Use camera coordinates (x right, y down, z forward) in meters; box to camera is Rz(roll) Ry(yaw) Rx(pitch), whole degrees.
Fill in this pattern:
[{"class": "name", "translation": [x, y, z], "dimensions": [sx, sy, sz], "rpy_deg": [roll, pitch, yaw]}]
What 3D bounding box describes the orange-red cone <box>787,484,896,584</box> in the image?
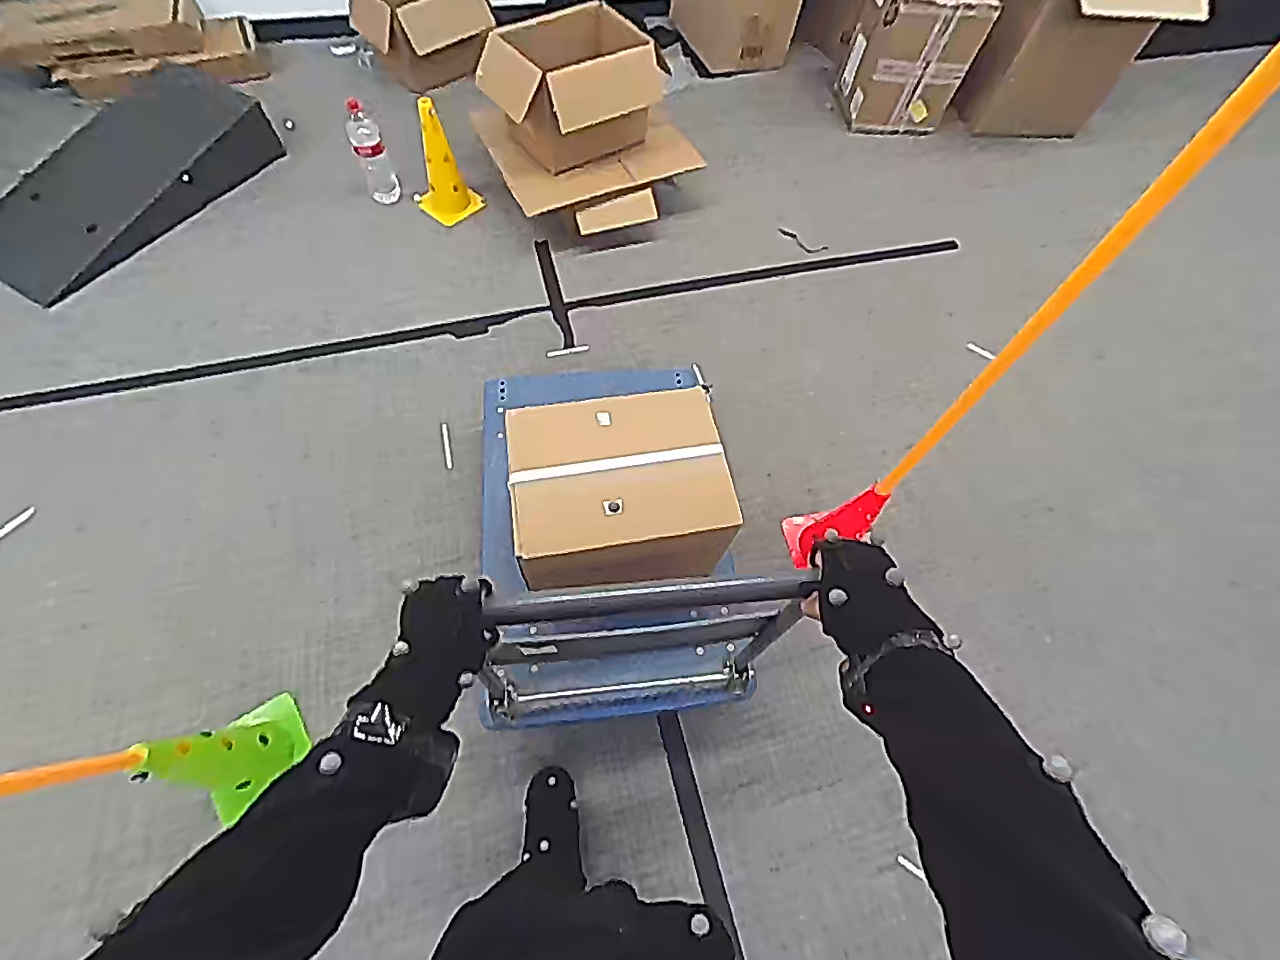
[{"class": "orange-red cone", "translation": [0.525, 0.103, 1.325], "dimensions": [0.199, 0.360, 0.198], "rpy_deg": [-6, 64, -9]}]
